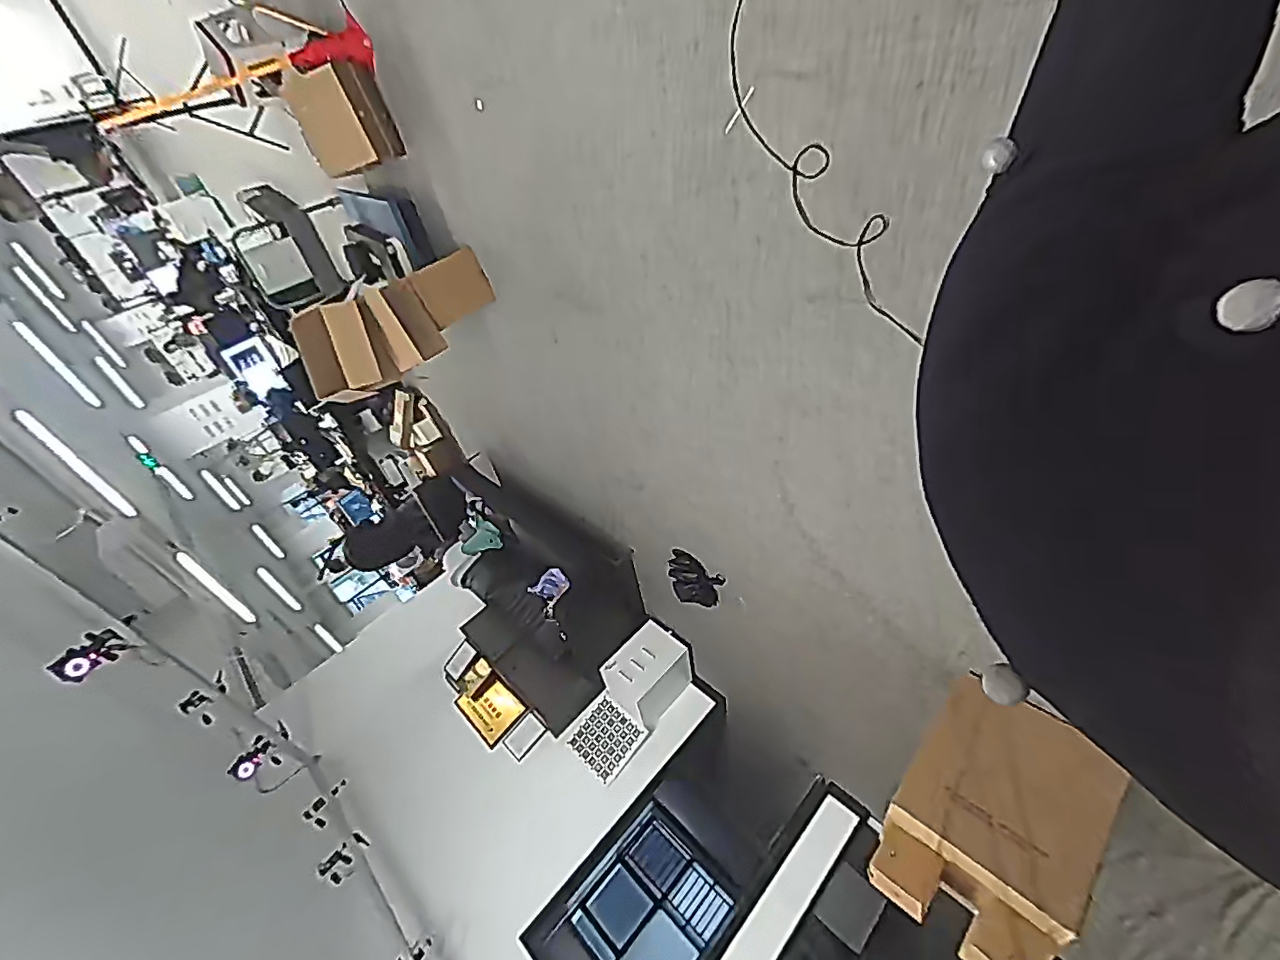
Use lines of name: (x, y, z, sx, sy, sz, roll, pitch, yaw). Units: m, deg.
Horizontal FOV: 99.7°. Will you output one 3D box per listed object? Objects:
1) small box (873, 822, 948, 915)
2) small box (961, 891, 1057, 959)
small box: (0.914, 1.304, 1.832, 0.179, 0.176, 0.168, 20, 138, 44)
small box: (1.119, 1.405, 1.639, 0.179, 0.176, 0.168, 30, 143, 36)
